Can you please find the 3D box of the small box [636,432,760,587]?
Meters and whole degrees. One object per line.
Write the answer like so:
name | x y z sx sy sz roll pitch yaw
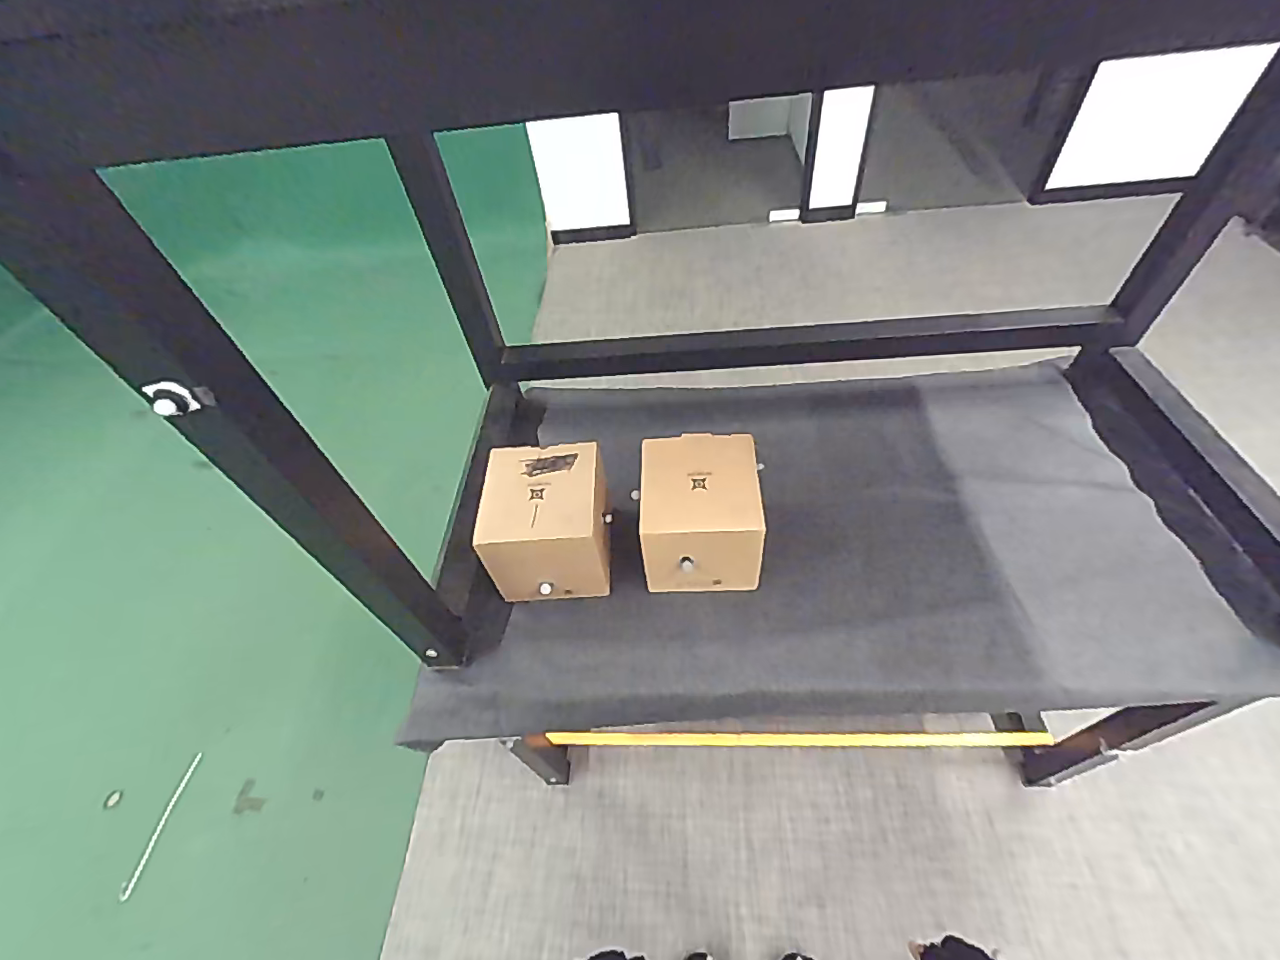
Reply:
small box | 0.088 0.050 0.816 0.168 0.176 0.179 -2 49 5

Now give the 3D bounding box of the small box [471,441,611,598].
small box | -0.139 0.063 0.831 0.168 0.176 0.179 -4 50 4
